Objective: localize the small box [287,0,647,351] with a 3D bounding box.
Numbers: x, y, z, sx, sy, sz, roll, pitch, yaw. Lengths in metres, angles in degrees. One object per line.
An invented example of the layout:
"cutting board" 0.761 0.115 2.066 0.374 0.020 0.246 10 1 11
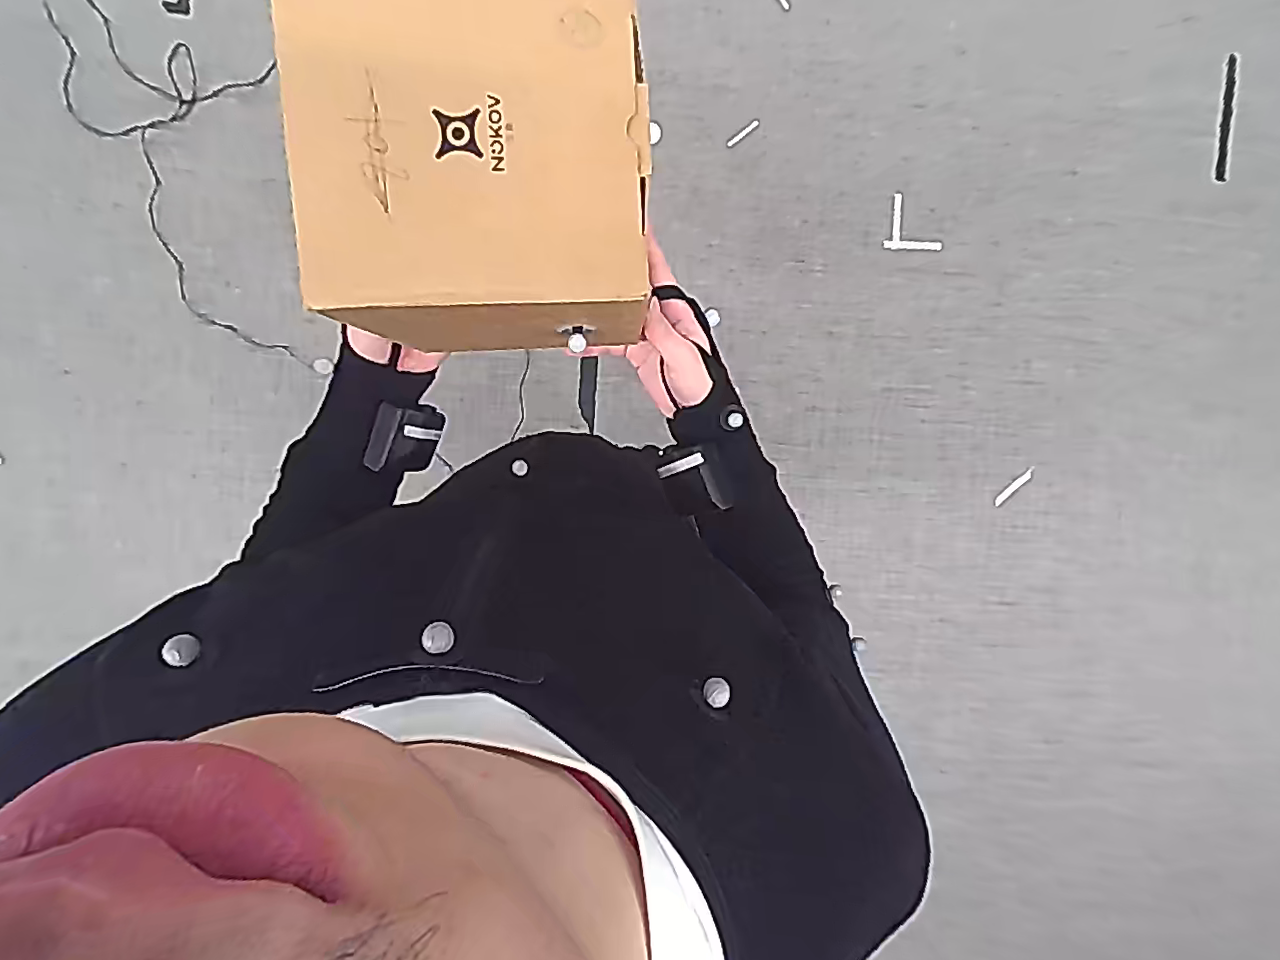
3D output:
"small box" -0.090 -0.181 0.358 0.179 0.176 0.168 -3 95 -2
